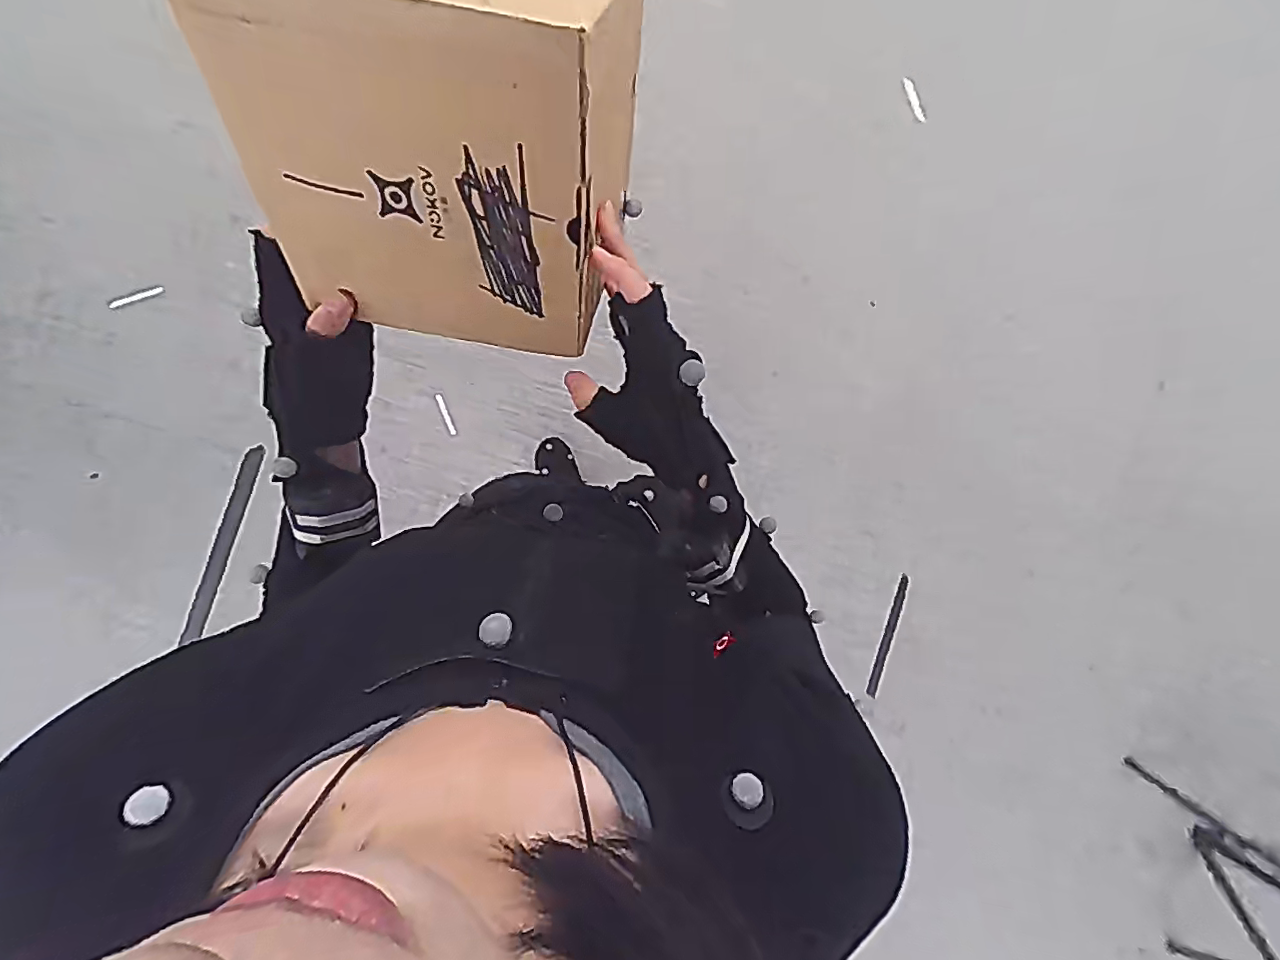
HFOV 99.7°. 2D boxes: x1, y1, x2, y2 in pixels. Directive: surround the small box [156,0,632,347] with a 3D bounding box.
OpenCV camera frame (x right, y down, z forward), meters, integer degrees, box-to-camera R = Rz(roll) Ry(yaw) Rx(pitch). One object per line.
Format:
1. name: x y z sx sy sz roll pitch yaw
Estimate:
1. small box: -0.105 -0.206 0.313 0.179 0.168 0.176 11 52 1
